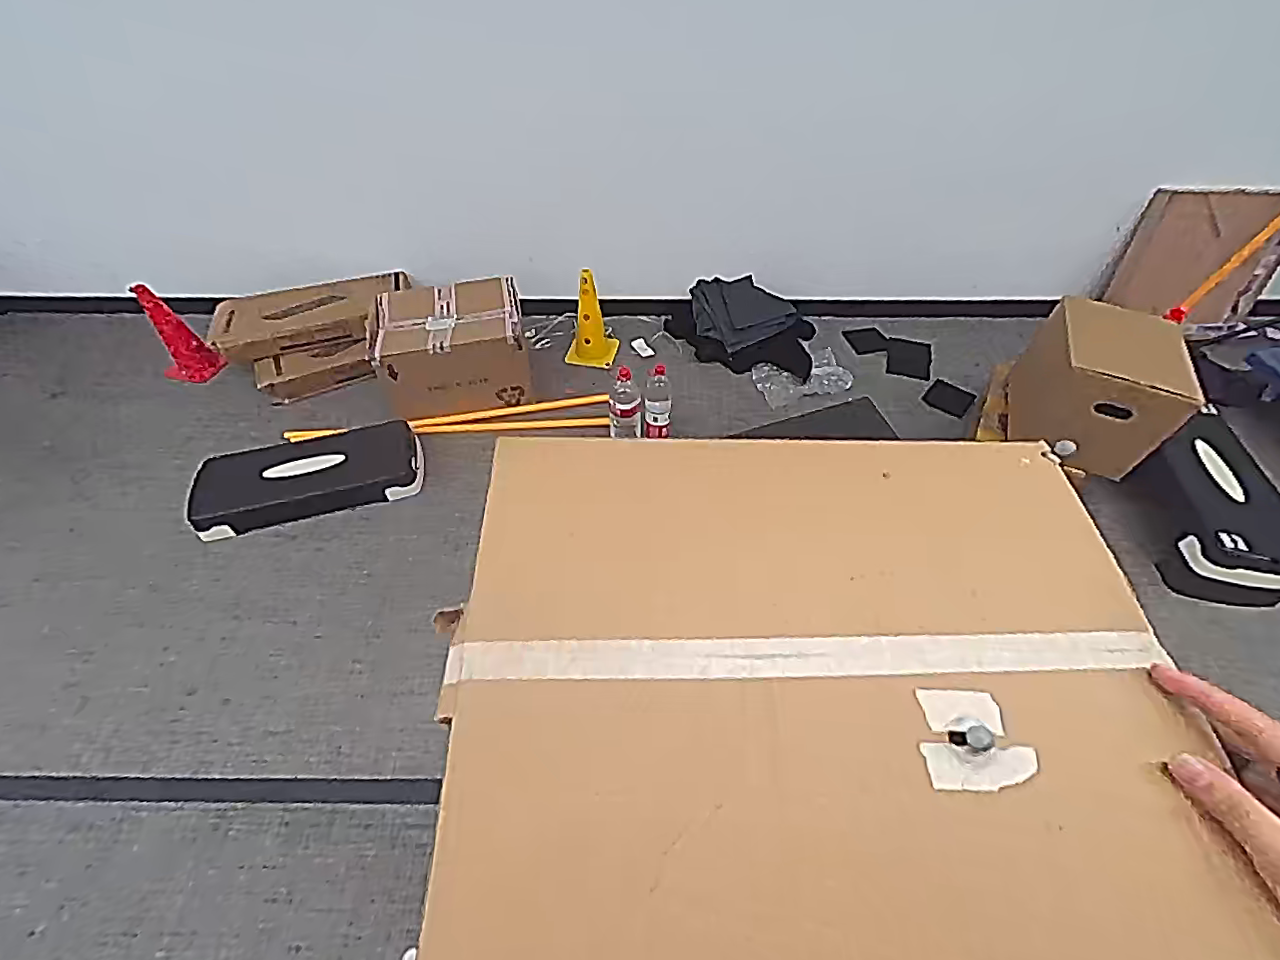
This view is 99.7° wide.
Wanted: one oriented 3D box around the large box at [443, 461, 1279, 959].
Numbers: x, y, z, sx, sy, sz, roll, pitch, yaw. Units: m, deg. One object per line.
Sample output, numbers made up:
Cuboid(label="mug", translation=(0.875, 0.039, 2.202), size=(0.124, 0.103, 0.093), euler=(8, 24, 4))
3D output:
Cuboid(label="large box", translation=(0.095, 0.196, 0.440), size=(0.408, 0.320, 0.320), euler=(1, 57, -4))
